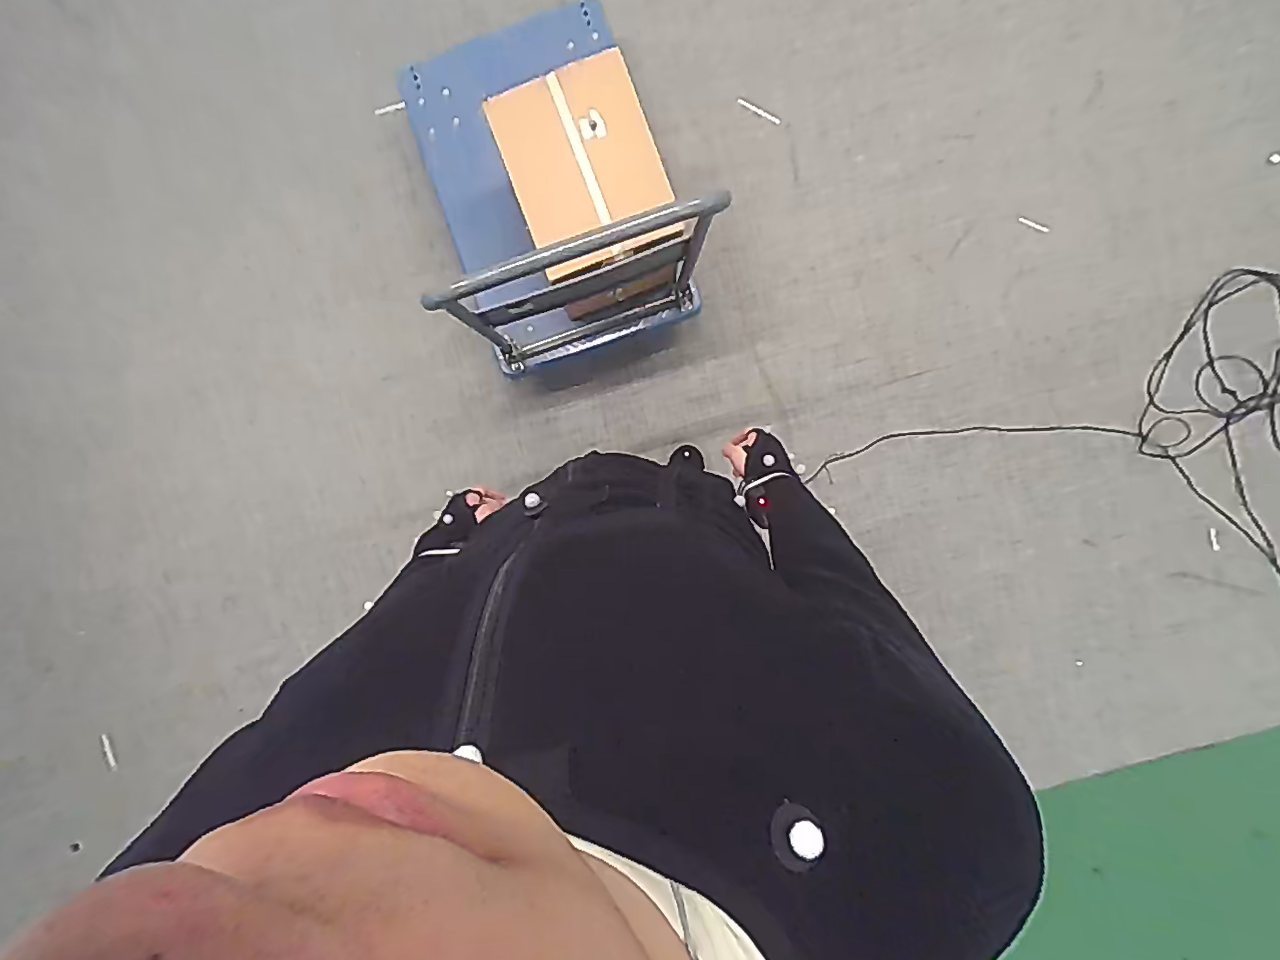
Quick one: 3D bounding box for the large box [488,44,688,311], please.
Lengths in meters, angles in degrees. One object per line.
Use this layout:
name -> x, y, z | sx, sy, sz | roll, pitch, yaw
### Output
large box -> -0.104, -0.678, 1.285 | 0.320, 0.320, 0.408 | -21, 92, 1
